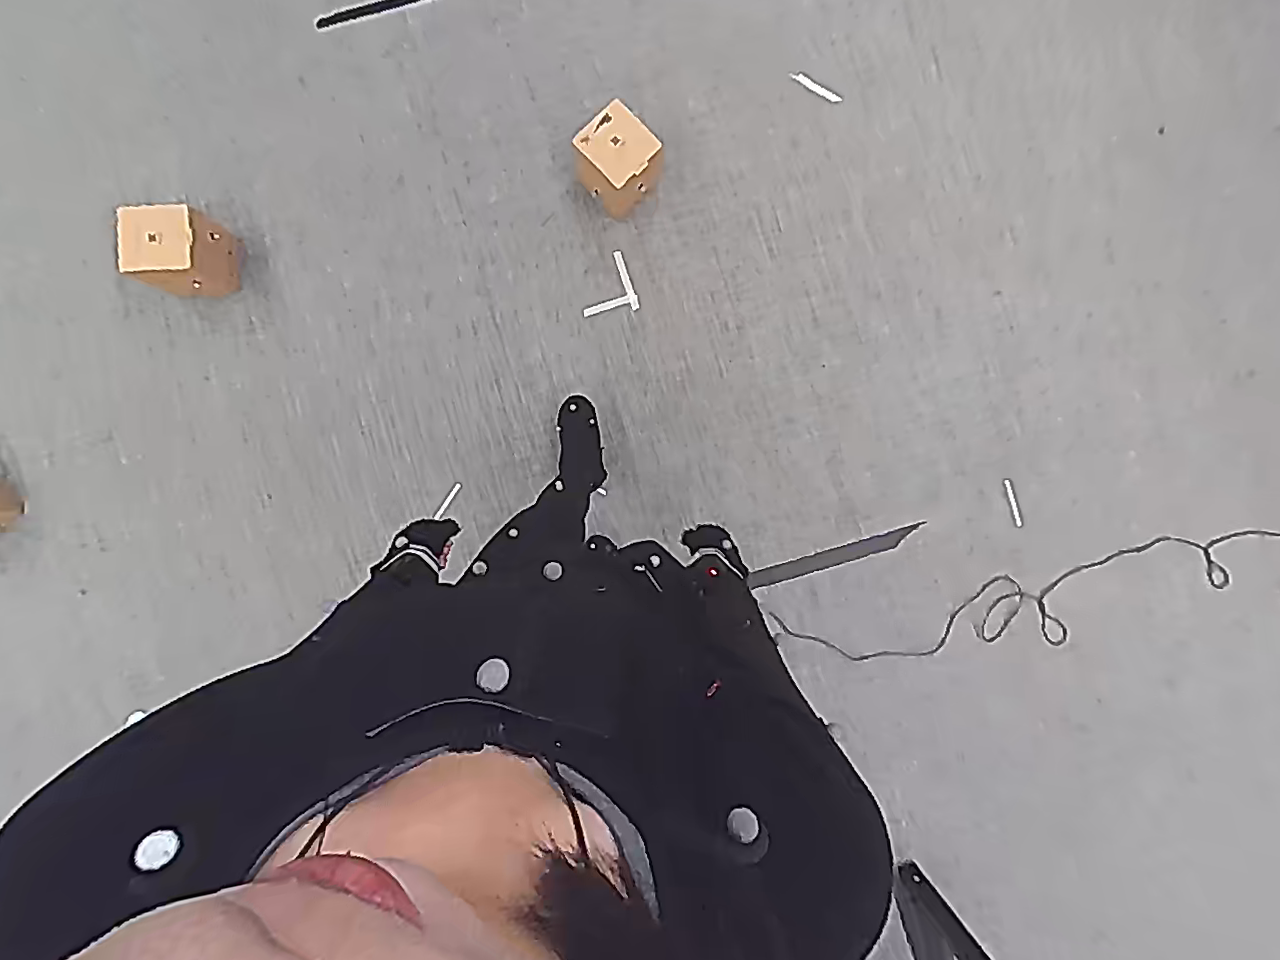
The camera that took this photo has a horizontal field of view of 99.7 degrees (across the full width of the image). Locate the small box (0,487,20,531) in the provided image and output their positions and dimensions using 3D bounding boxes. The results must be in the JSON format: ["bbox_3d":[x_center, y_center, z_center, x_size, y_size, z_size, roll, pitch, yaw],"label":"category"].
[{"bbox_3d":[-1.762,0.072,1.359,0.168,0.176,0.179,-39,91,-2],"label":"small box"}]

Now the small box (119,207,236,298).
[{"bbox_3d":[-1.187,-0.584,1.403,0.179,0.176,0.168,-4,87,-2],"label":"small box"}]

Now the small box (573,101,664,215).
[{"bbox_3d":[-0.056,-0.847,1.449,0.168,0.176,0.179,-45,92,-2],"label":"small box"}]
